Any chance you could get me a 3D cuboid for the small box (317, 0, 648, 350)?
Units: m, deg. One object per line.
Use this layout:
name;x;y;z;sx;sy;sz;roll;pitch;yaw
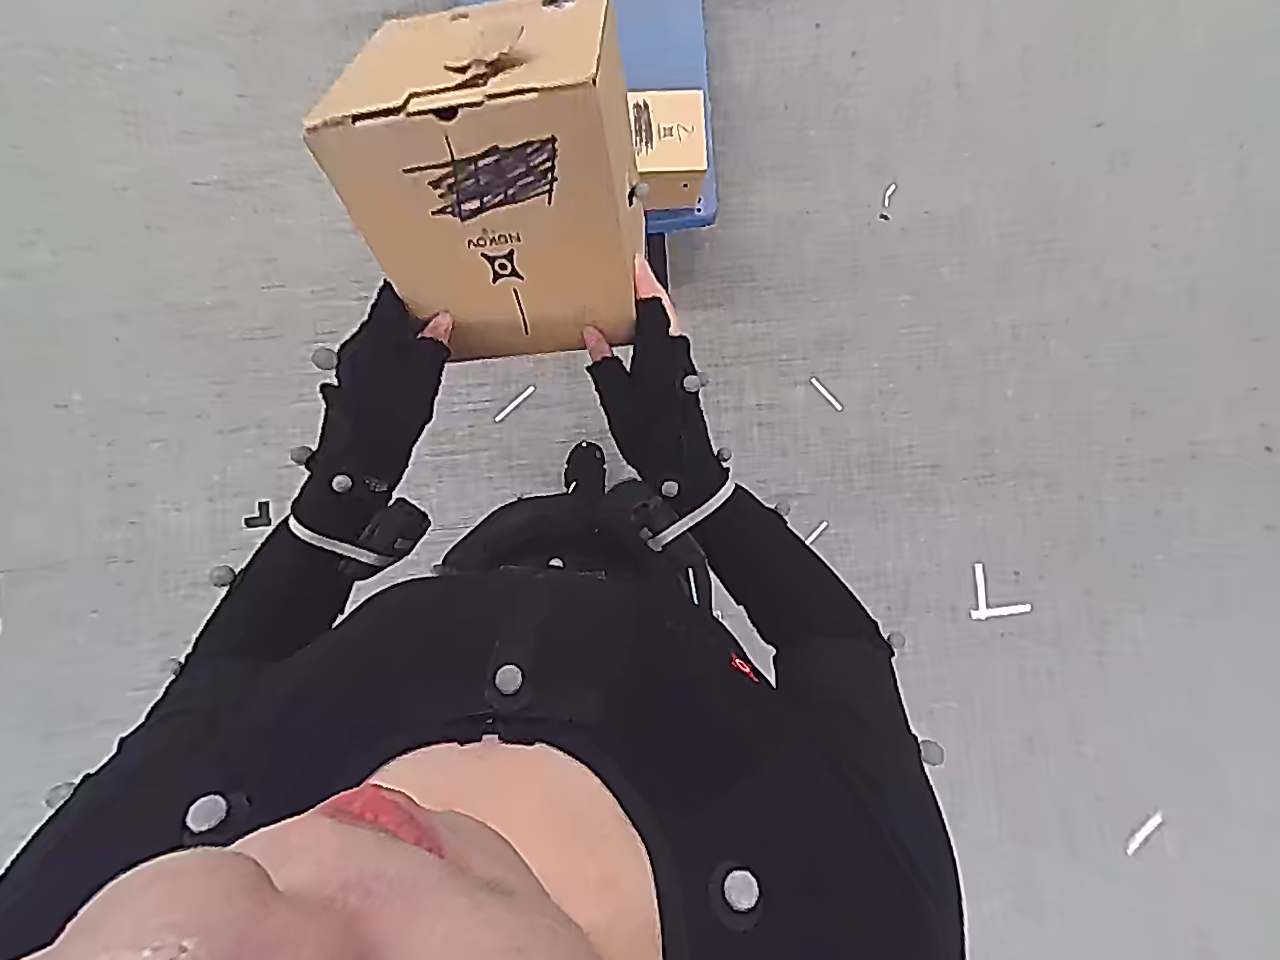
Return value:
small box;-0.085;-0.223;0.397;0.168;0.179;0.176;-3;56;7
